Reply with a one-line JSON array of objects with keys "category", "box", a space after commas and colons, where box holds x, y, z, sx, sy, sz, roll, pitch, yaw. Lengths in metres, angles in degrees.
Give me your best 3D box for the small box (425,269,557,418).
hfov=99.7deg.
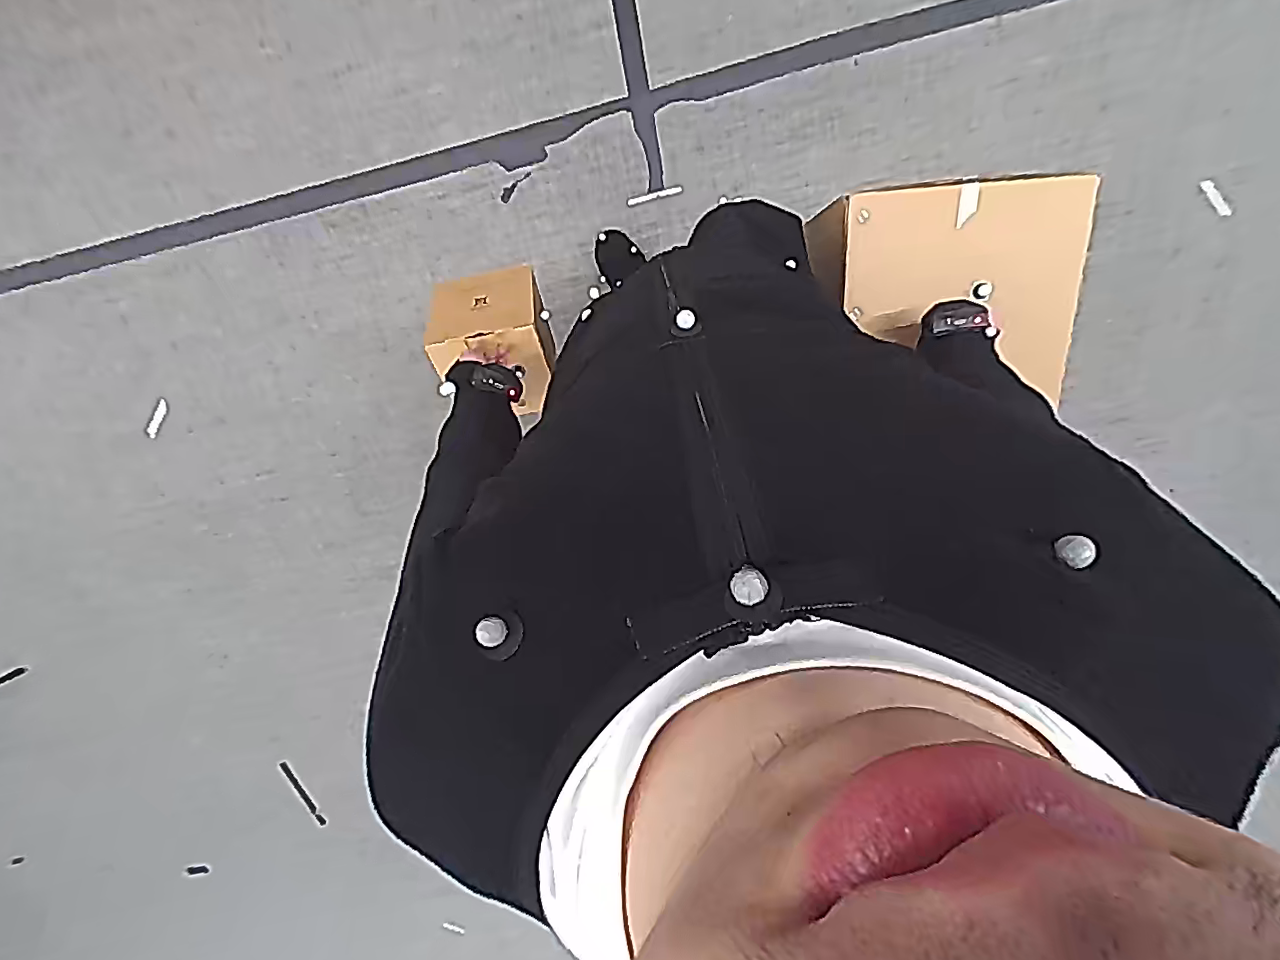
[{"category": "small box", "box": [-0.240, -0.221, 0.909, 0.168, 0.179, 0.176, -11, 141, -1]}]
